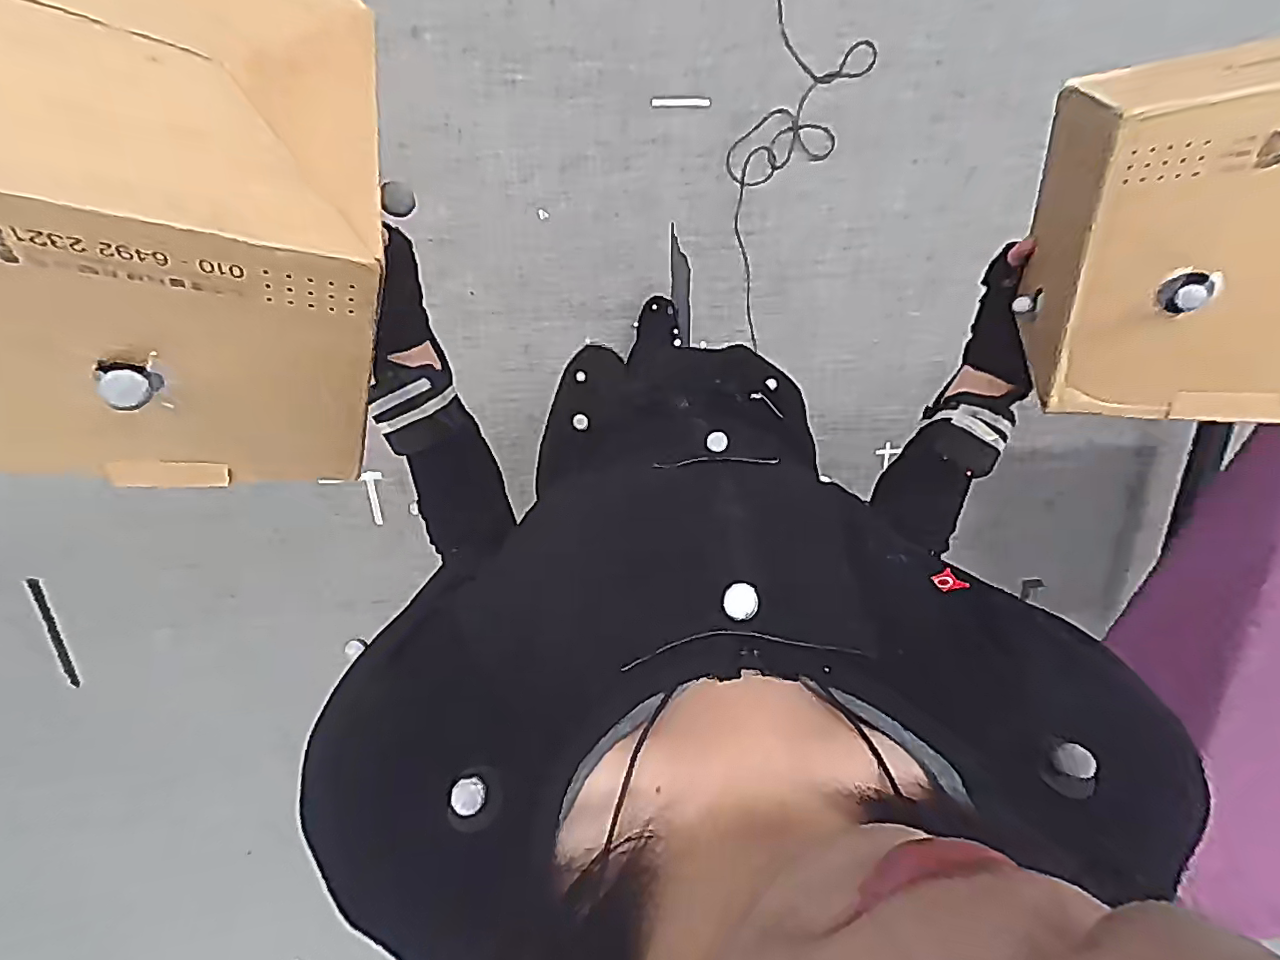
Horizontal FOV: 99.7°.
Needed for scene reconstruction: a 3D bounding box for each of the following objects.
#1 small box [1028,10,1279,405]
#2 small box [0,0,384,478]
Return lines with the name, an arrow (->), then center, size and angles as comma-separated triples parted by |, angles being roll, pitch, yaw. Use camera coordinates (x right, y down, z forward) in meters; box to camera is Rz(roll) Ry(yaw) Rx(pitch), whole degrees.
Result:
small box -> 0.345, -0.156, 0.305 | 0.168, 0.179, 0.176 | 6, 130, 24
small box -> -0.209, -0.116, 0.233 | 0.168, 0.179, 0.176 | 2, 150, -30
